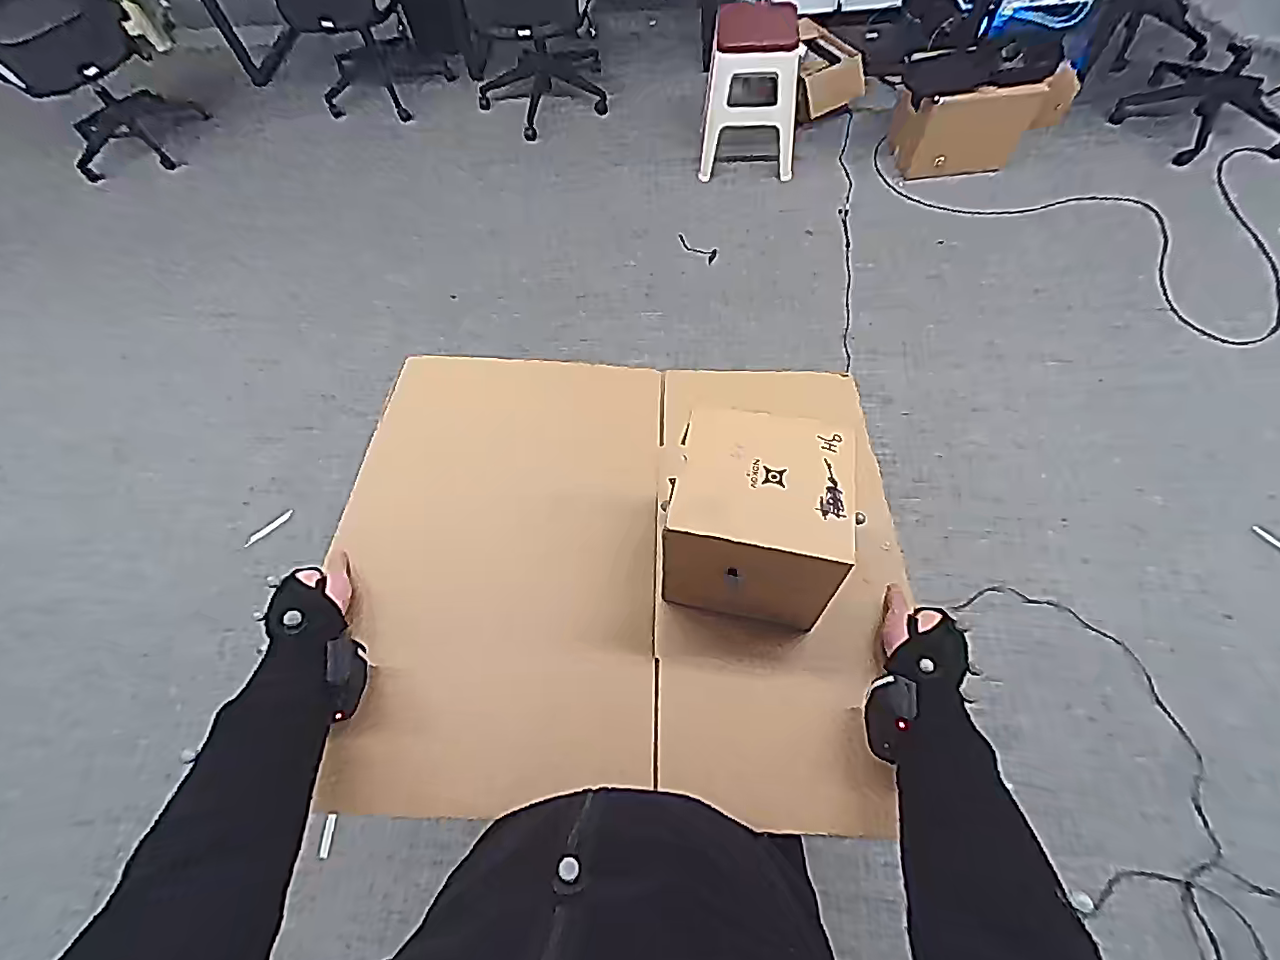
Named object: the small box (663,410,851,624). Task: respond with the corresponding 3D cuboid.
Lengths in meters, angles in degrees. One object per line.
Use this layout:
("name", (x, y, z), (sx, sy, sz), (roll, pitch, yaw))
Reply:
("small box", (0.127, 0.046, 0.612), (0.179, 0.176, 0.168), (9, 55, 9))
